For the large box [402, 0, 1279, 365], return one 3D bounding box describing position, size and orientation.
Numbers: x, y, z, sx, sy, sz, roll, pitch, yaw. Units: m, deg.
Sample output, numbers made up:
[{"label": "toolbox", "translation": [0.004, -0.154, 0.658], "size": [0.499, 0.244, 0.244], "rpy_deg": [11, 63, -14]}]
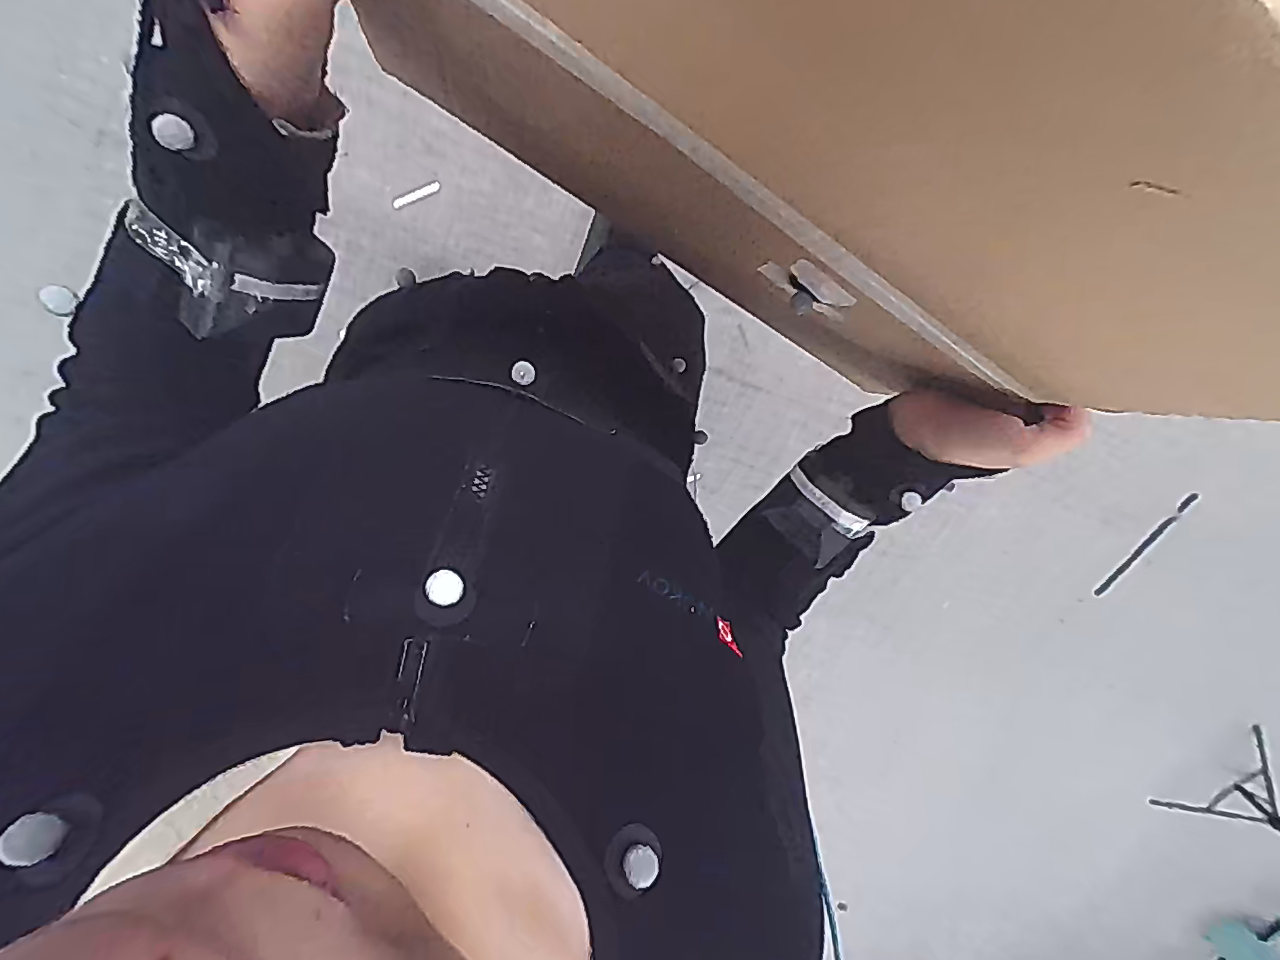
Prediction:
[{"label": "large box", "translation": [0.142, -0.280, 0.203], "size": [0.408, 0.320, 0.320], "rpy_deg": [26, 95, -17]}]
